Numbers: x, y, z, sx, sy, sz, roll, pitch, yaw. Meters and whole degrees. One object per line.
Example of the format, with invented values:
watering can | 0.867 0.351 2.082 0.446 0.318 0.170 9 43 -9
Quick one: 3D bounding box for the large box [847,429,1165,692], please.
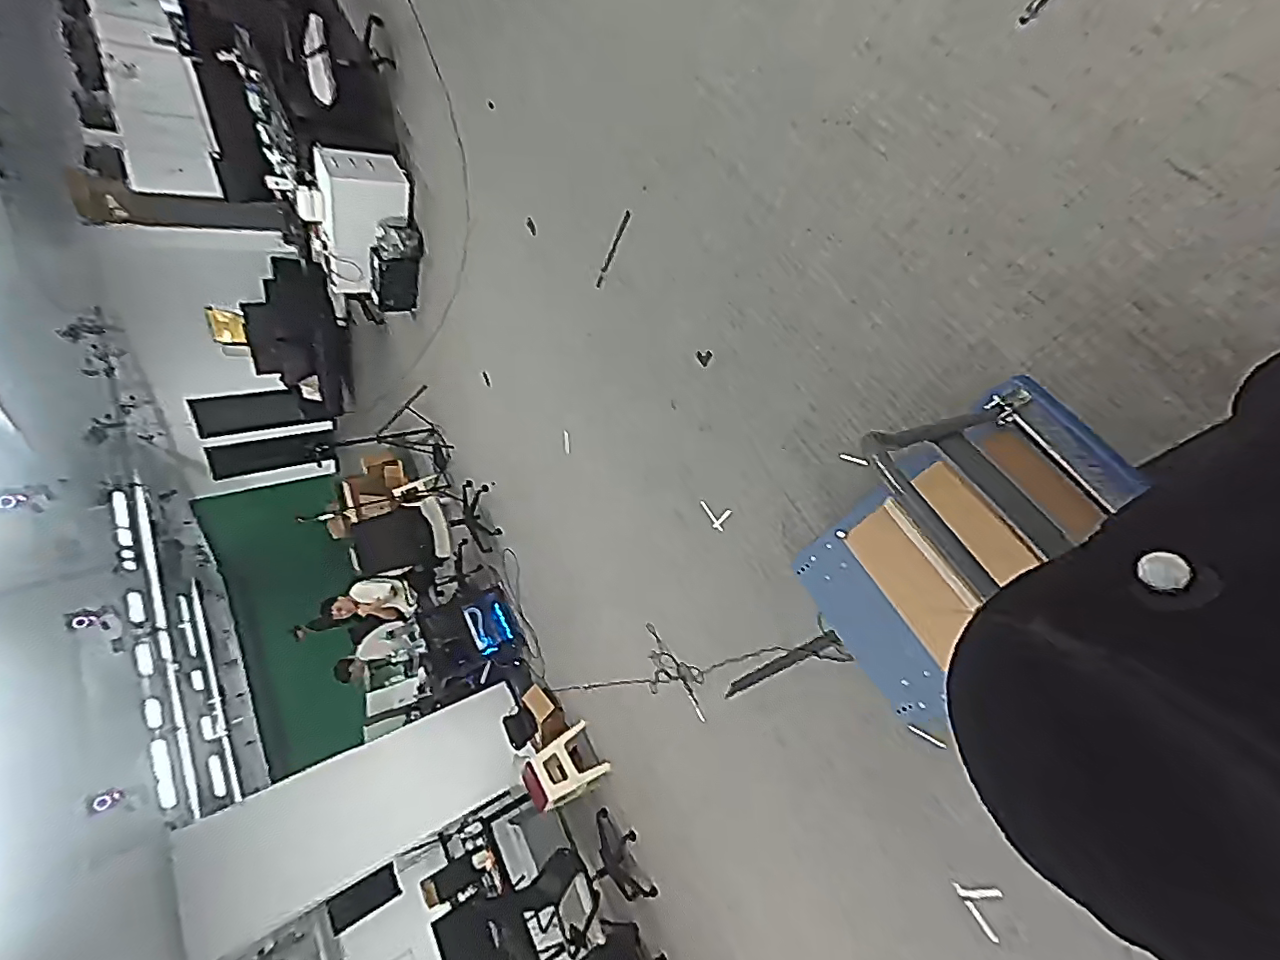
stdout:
large box | 0.744 0.157 1.138 0.408 0.320 0.320 59 142 23
